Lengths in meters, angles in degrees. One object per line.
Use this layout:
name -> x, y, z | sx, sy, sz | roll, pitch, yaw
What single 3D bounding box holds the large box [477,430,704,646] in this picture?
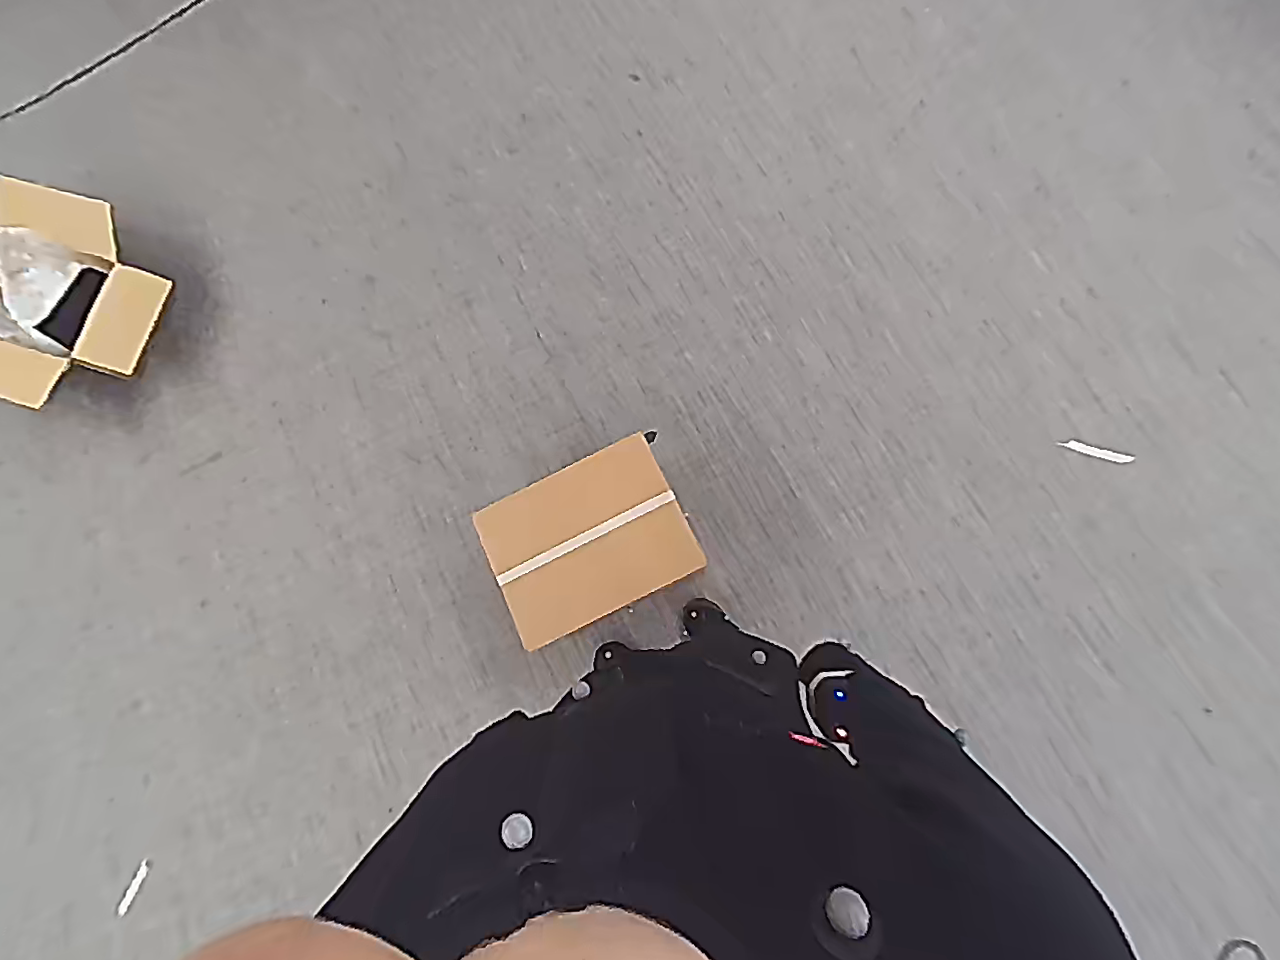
large box -> -0.095, 0.144, 1.263 | 0.408, 0.320, 0.320 | -26, 79, 1
